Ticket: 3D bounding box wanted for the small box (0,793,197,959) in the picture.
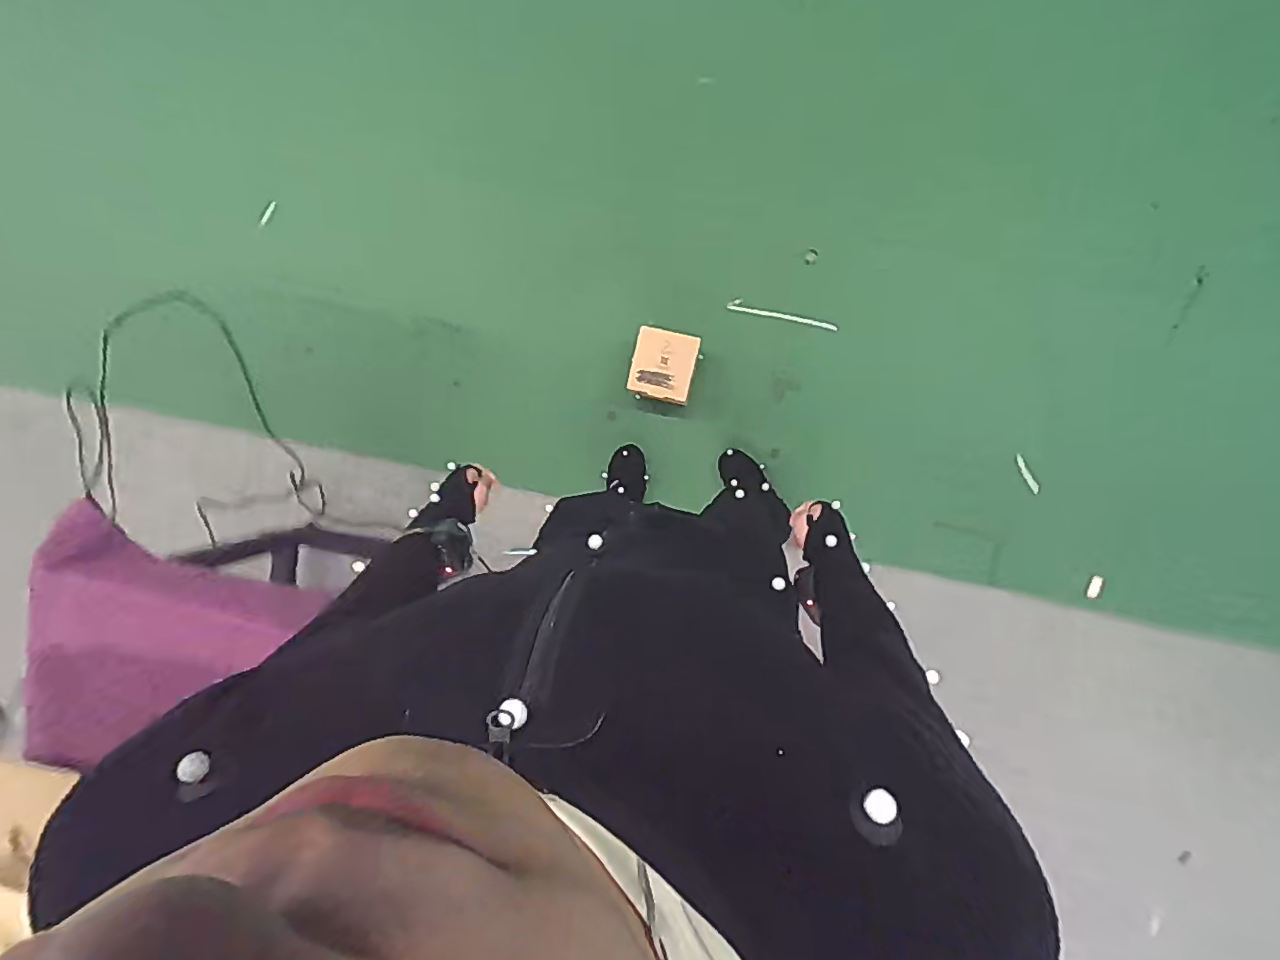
[{"bbox_3d":[-0.808,0.595,0.790,0.179,0.176,0.168,9,94,4],"label":"small box"}]
